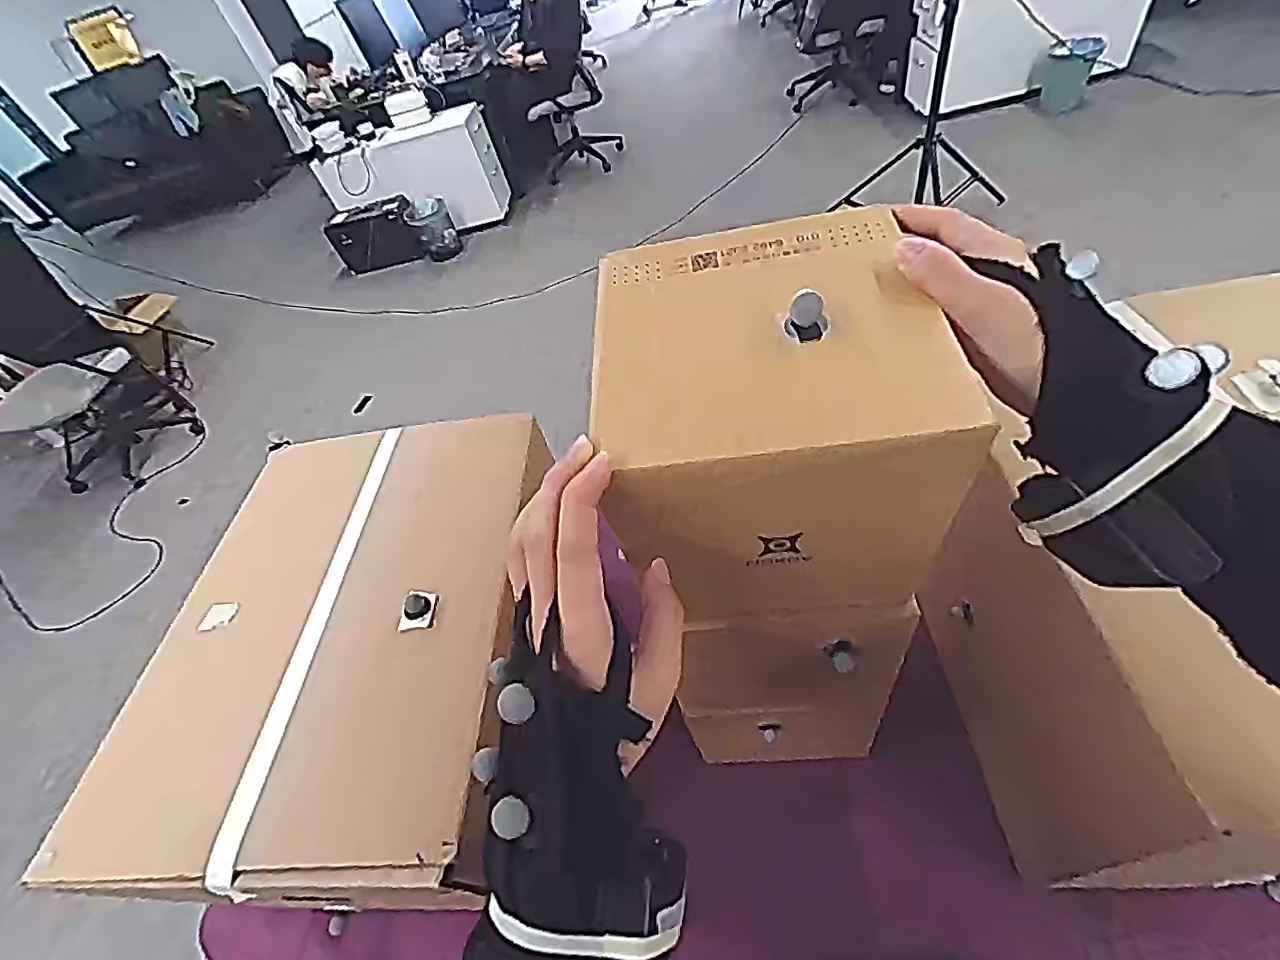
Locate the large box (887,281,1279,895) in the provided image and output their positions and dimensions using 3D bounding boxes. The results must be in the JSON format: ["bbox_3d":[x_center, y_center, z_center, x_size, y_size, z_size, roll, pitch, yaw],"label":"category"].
[{"bbox_3d":[0.452,0.092,0.475,0.320,0.320,0.408,-9,47,8],"label":"large box"}]
